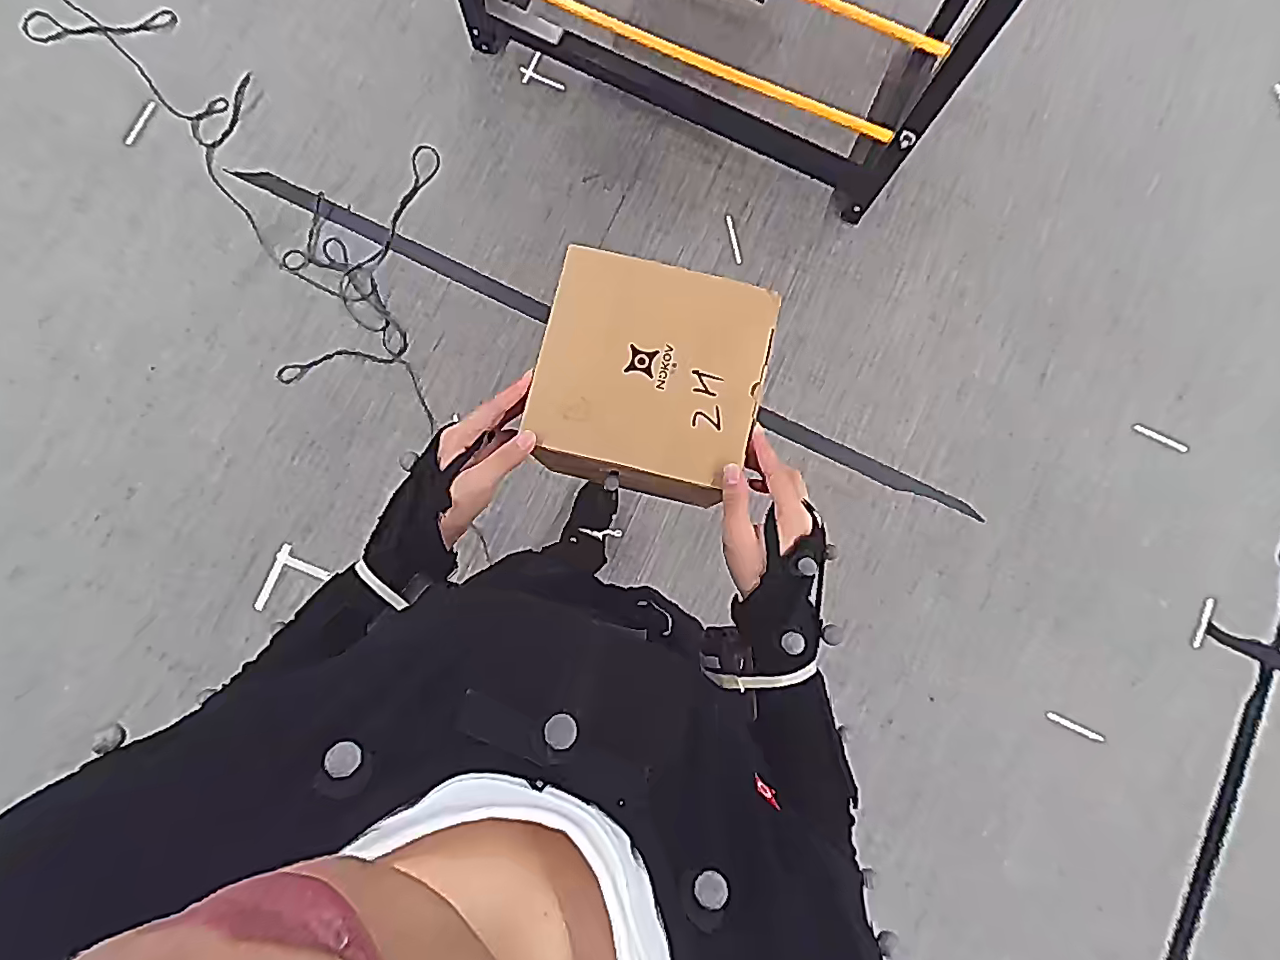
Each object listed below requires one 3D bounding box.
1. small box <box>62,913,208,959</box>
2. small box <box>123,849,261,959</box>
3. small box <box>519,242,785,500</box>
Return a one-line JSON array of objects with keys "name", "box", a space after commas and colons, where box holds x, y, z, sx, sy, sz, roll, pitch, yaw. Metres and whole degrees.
[{"name": "small box", "box": [-0.930, 0.917, 0.947, 0.179, 0.176, 0.168, 28, 84, 0]}, {"name": "small box", "box": [-0.934, 0.917, 1.112, 0.168, 0.176, 0.179, 22, 84, 0]}, {"name": "small box", "box": [0.010, -0.081, 0.494, 0.179, 0.176, 0.168, 14, 84, 0]}]
